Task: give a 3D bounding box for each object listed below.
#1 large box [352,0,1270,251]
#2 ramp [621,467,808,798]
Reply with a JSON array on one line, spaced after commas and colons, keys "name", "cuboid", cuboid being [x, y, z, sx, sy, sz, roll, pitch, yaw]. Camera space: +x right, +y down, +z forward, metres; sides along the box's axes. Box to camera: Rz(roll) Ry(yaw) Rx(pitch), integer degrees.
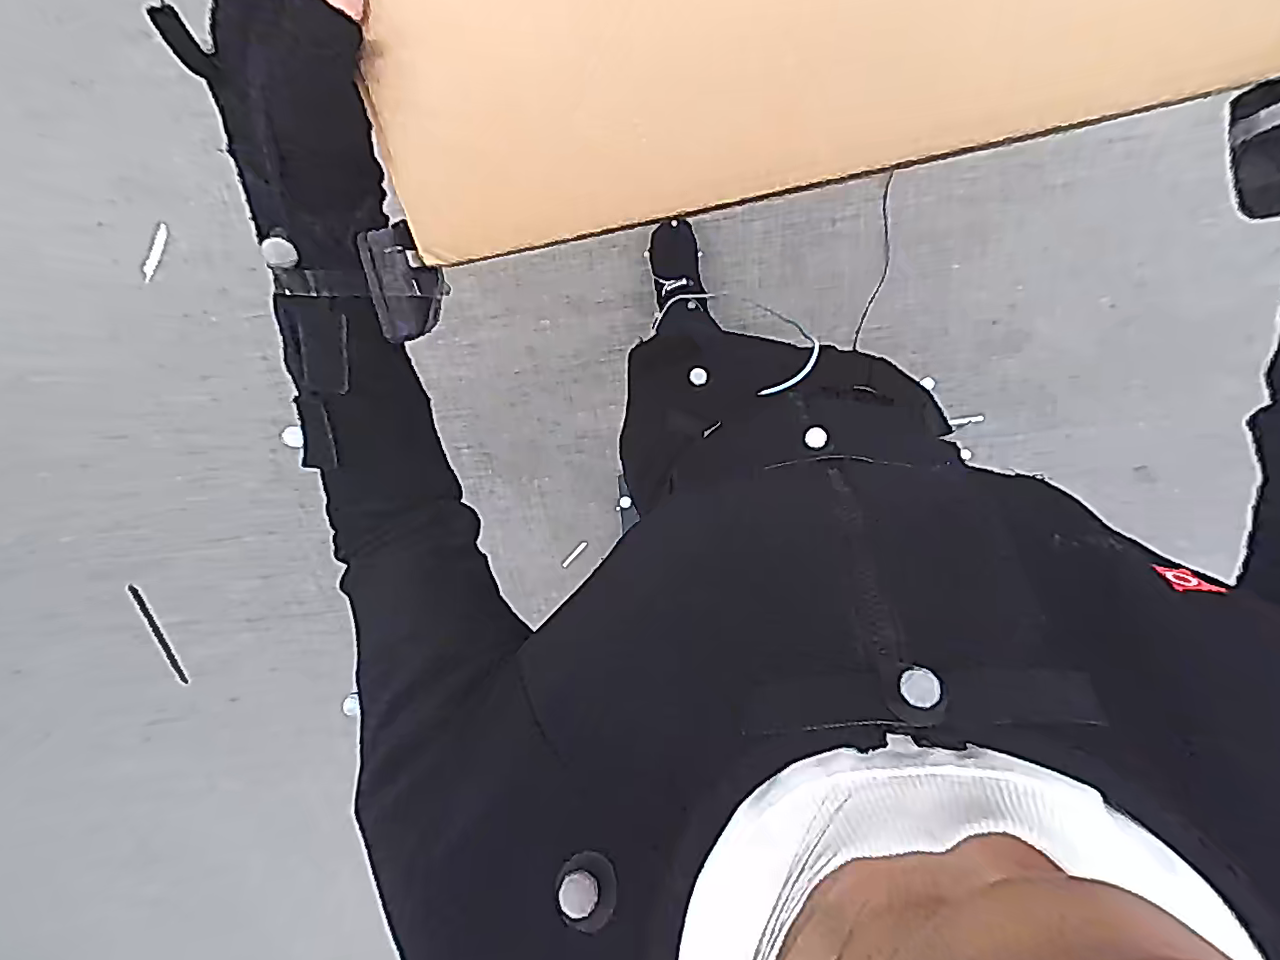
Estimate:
[{"name": "large box", "cuboid": [0.058, -0.358, 0.342, 0.408, 0.320, 0.320, -9, 116, 9]}, {"name": "ramp", "cuboid": [0.221, 0.468, 1.560, 0.509, 0.206, 0.991, -5, 110, 7]}]
